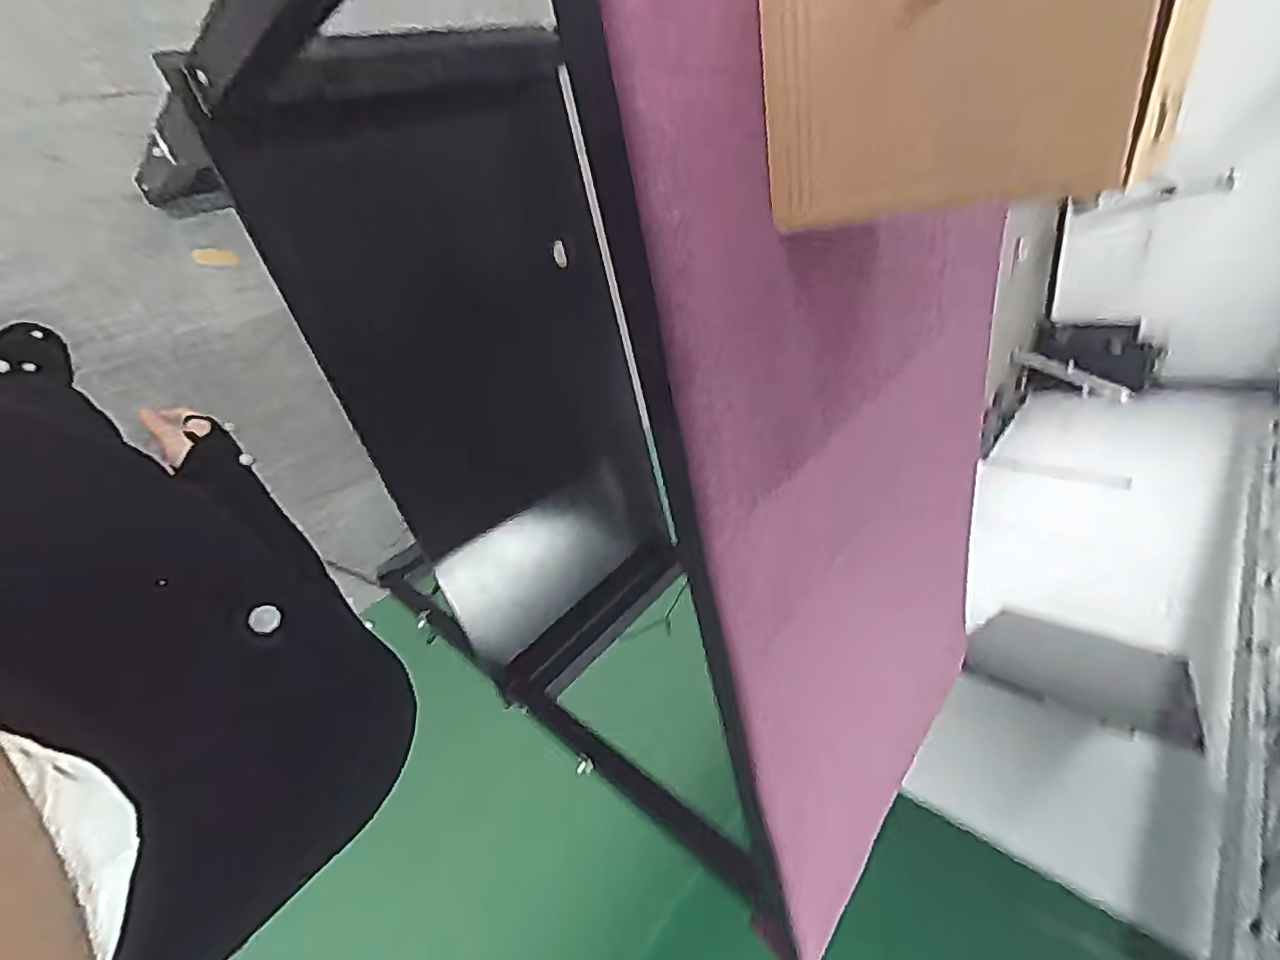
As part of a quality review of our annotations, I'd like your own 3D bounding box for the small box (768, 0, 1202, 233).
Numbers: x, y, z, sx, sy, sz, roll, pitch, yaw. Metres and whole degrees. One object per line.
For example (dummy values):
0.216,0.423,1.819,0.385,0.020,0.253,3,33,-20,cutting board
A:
0.179,-0.247,0.286,0.168,0.176,0.179,-34,124,-35,small box
